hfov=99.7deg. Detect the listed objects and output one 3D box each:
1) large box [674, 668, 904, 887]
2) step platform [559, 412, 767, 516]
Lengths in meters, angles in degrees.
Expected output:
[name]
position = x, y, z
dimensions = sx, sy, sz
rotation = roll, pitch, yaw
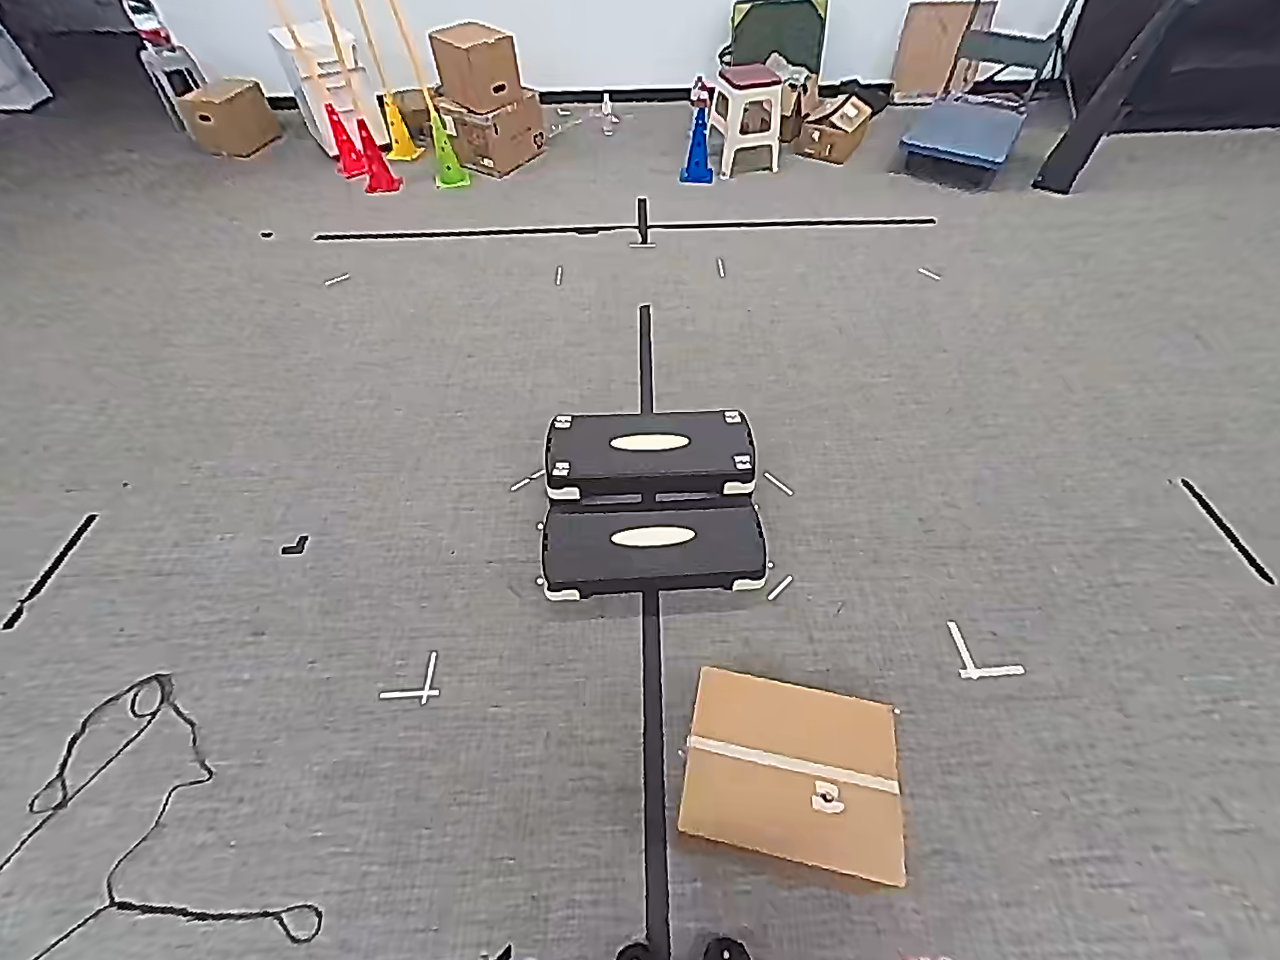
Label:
[large box]
position = 0.299, 0.650, 1.179
dimensions = 0.408, 0.320, 0.320
rotation = 10, 52, 8
[step platform]
position = 0.072, -0.060, 1.810
dimensions = 0.684, 0.204, 0.286
rotation = -2, 52, -2
